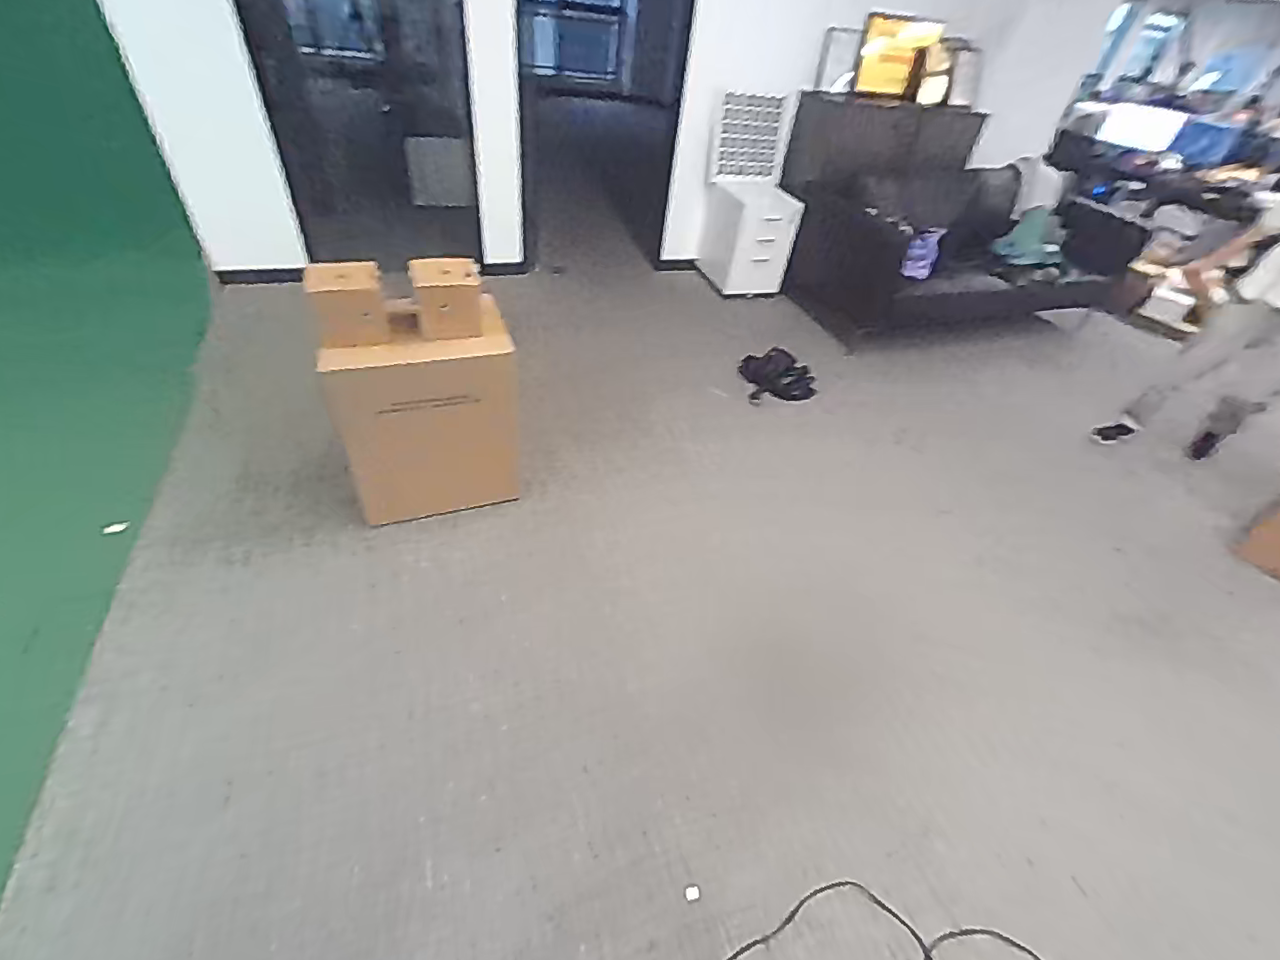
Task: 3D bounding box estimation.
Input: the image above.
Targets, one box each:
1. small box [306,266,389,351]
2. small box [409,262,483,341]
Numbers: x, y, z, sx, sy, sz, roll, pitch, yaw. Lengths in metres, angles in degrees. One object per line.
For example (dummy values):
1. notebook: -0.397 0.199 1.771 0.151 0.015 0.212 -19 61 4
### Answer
1. small box: -0.817 -0.482 1.521 0.179 0.176 0.168 -13 49 -20
2. small box: -0.576 -0.531 1.612 0.179 0.176 0.168 -10 49 -19
